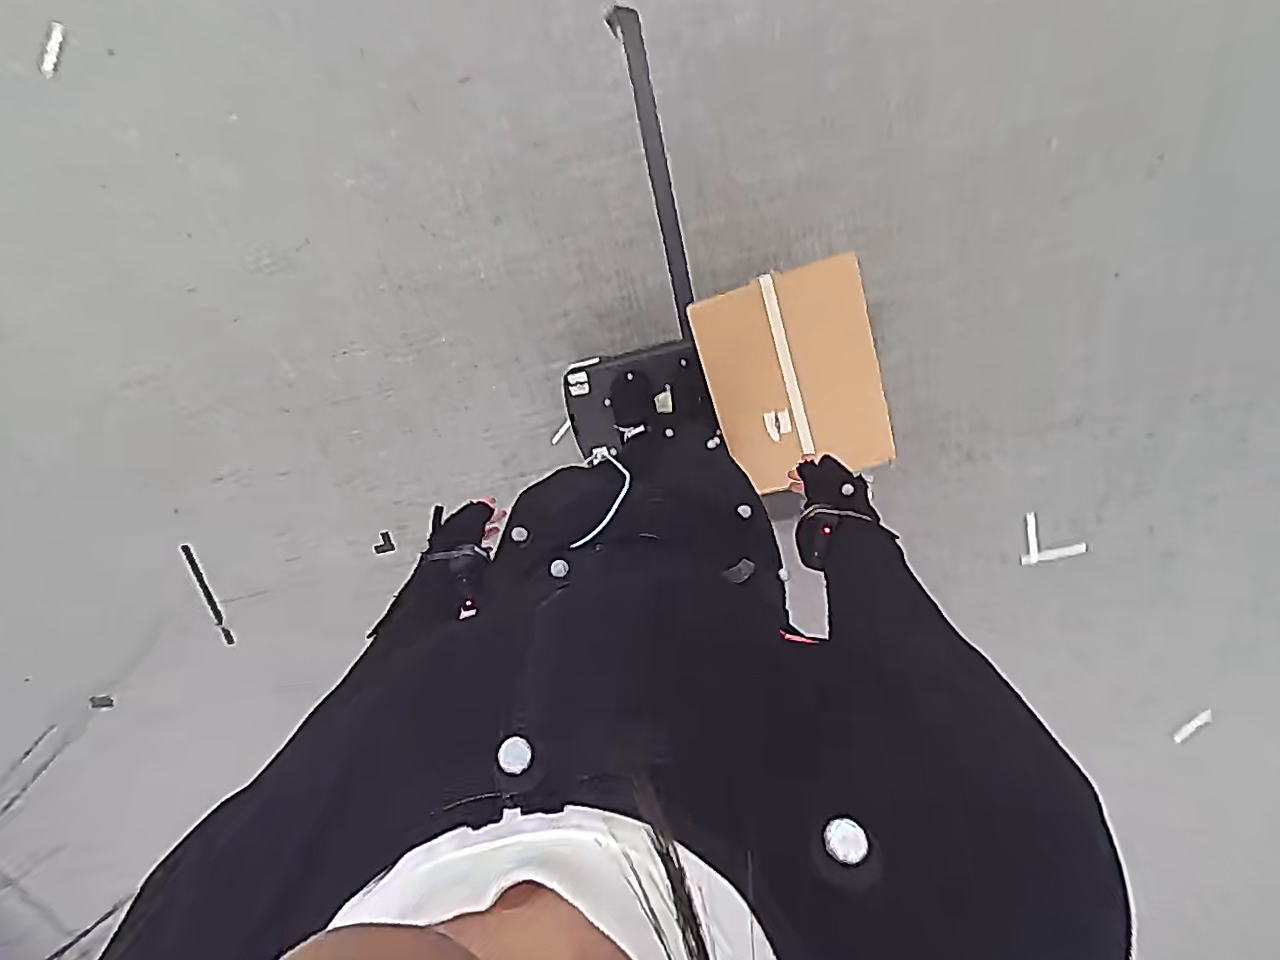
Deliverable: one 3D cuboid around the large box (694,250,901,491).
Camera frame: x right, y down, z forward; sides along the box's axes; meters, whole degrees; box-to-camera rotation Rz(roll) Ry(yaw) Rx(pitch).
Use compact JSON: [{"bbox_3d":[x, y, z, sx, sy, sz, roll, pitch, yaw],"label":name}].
[{"bbox_3d":[0.333,-0.243,1.181,0.320,0.320,0.408,-14,107,17],"label":"large box"}]
